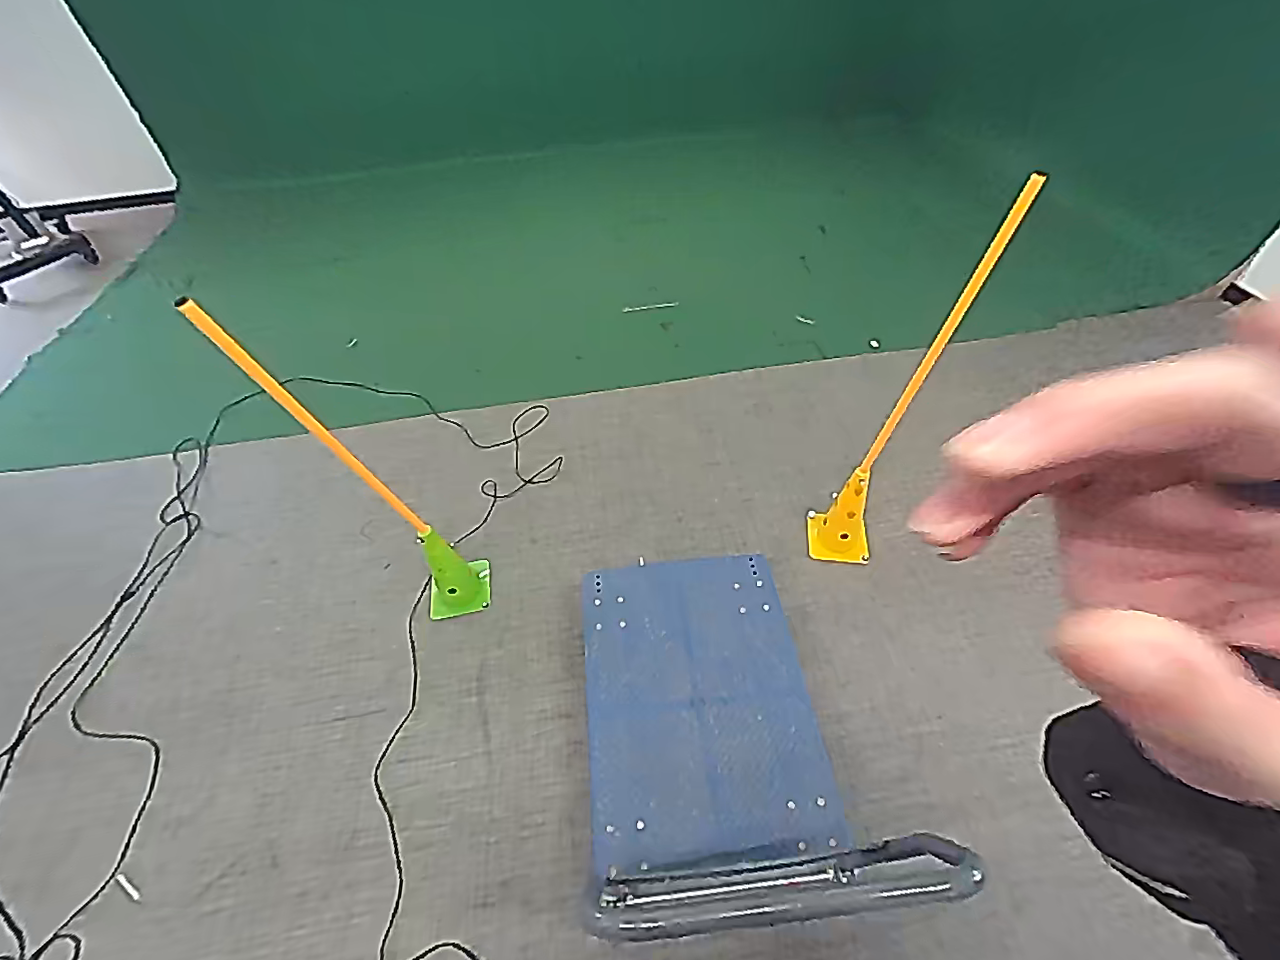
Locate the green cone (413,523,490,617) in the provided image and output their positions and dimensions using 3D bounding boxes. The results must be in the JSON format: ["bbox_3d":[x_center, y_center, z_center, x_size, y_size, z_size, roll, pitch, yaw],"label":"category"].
[{"bbox_3d":[-0.634,0.254,1.737,0.202,0.368,0.200,-13,49,-4],"label":"green cone"}]
